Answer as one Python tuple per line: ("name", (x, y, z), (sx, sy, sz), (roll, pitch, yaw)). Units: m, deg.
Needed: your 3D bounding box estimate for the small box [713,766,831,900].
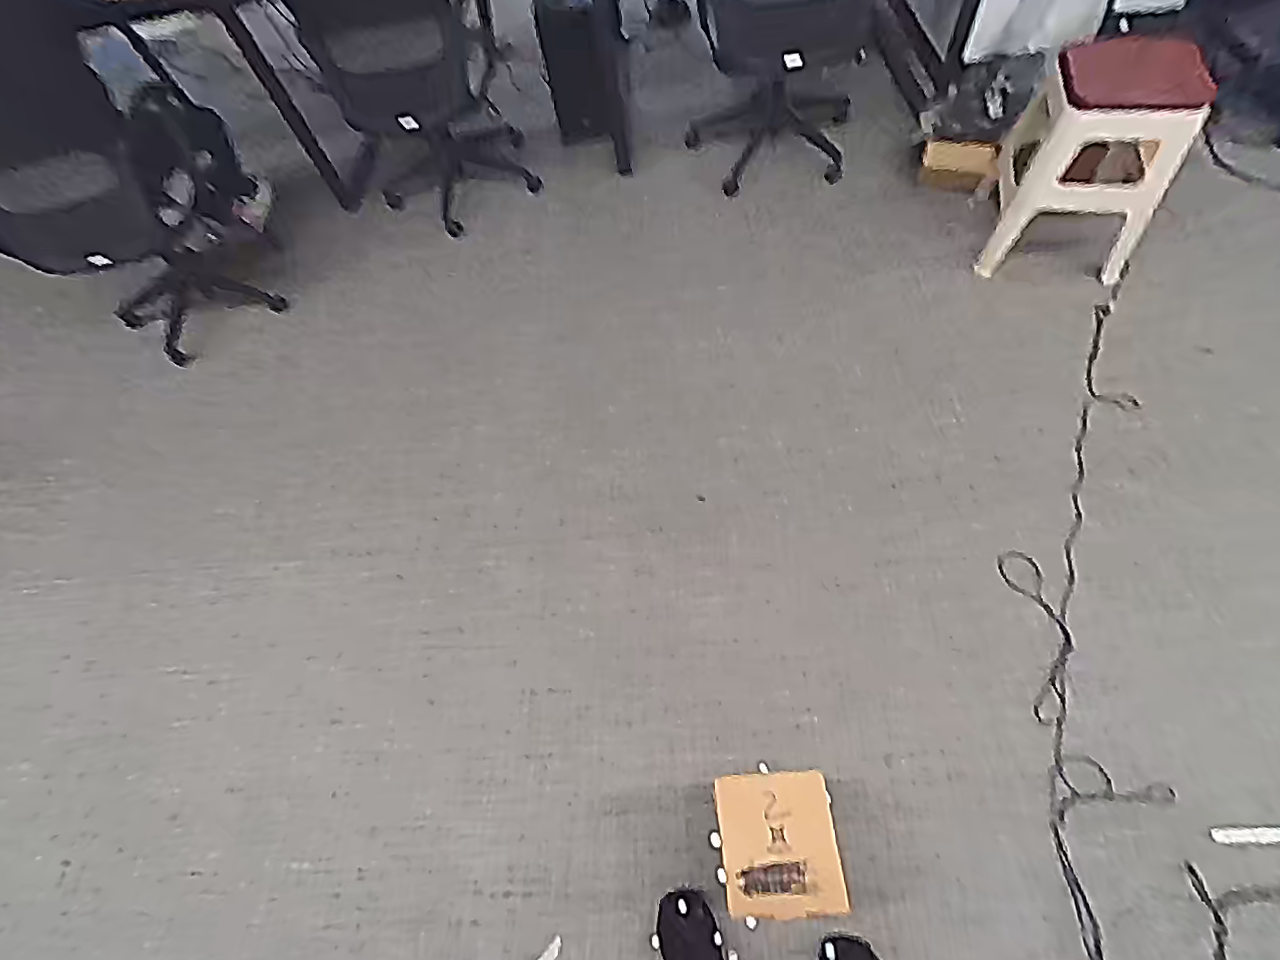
("small box", (0.228, 0.635, 0.987), (0.168, 0.176, 0.179), (-11, 61, 2))
